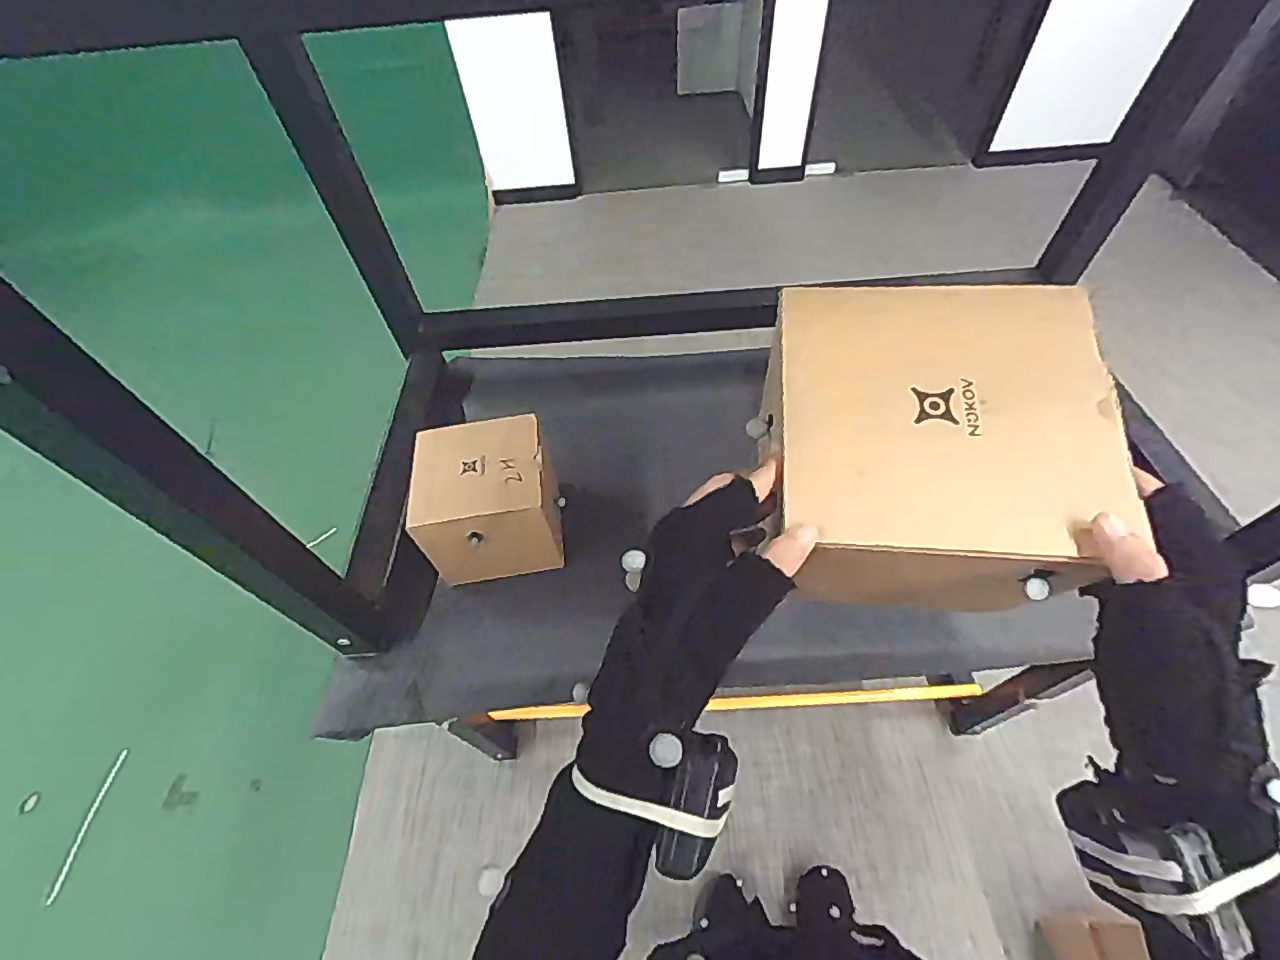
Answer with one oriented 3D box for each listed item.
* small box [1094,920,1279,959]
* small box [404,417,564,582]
[{"bbox_3d":[0.875,0.806,0.839,0.168,0.176,0.179,-6,52,0],"label":"small box"},{"bbox_3d":[-0.215,0.034,0.788,0.179,0.176,0.168,-8,54,-2],"label":"small box"}]
